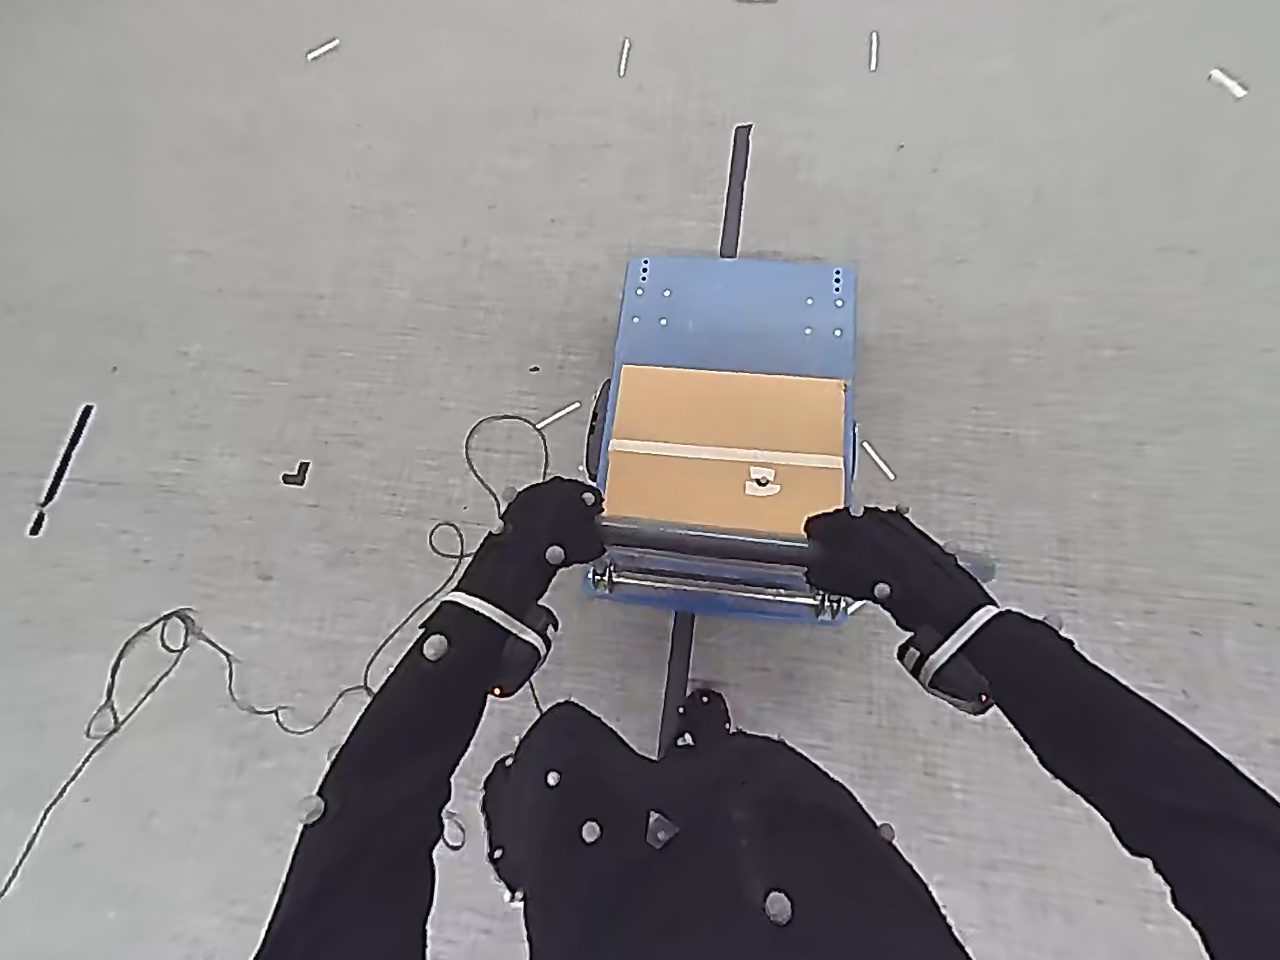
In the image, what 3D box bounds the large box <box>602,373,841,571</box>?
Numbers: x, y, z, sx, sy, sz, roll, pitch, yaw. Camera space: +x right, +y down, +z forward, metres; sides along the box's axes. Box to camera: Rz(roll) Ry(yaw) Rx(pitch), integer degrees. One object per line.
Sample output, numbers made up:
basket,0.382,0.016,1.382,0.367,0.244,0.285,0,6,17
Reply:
large box,0.152,0.001,1.079,0.408,0.320,0.320,5,77,5
